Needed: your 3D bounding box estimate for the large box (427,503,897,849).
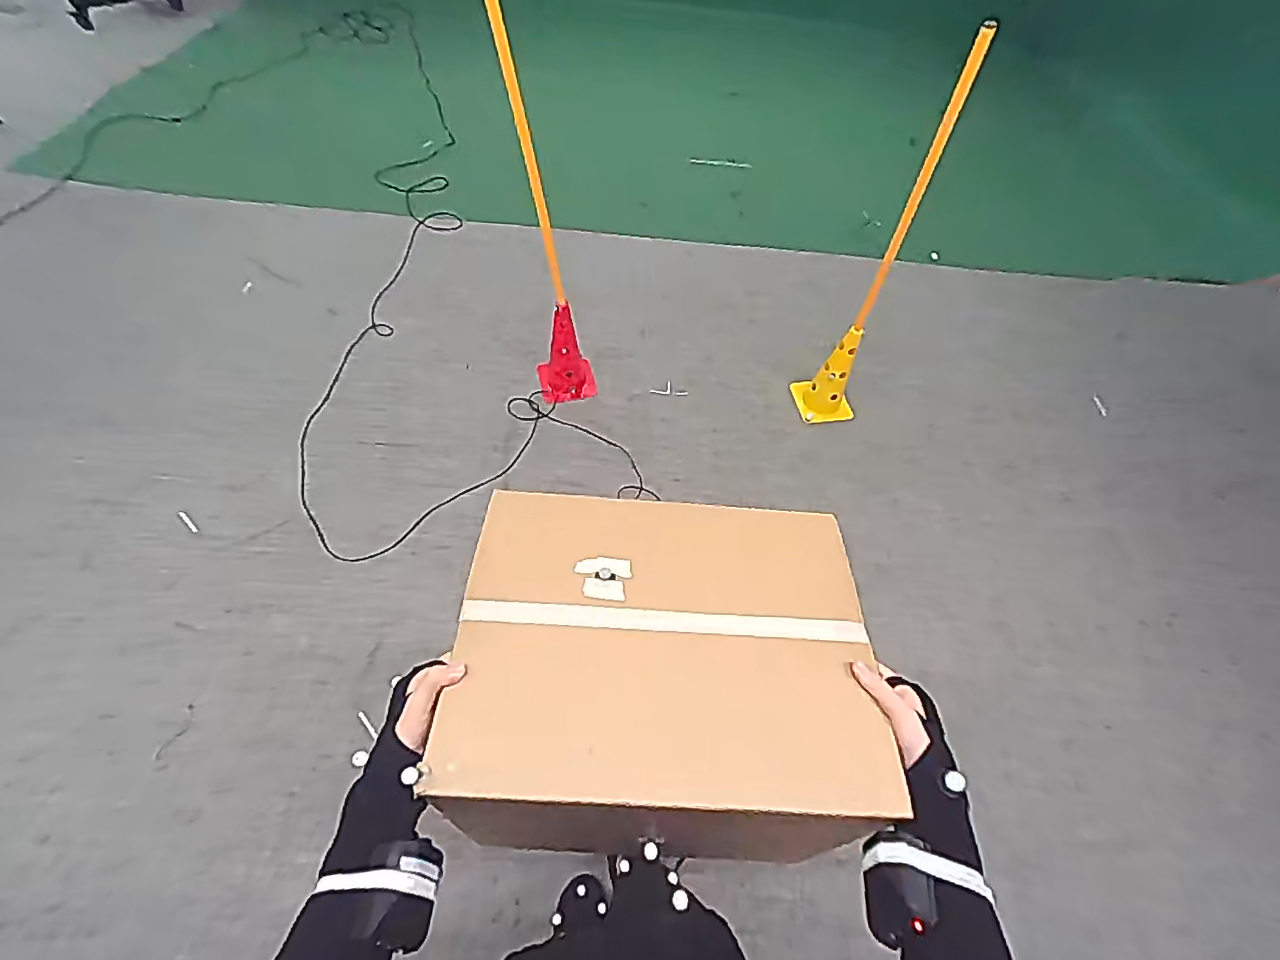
[{"bbox_3d":[0.017,0.248,0.659,0.408,0.320,0.320,3,49,-1],"label":"large box"}]
